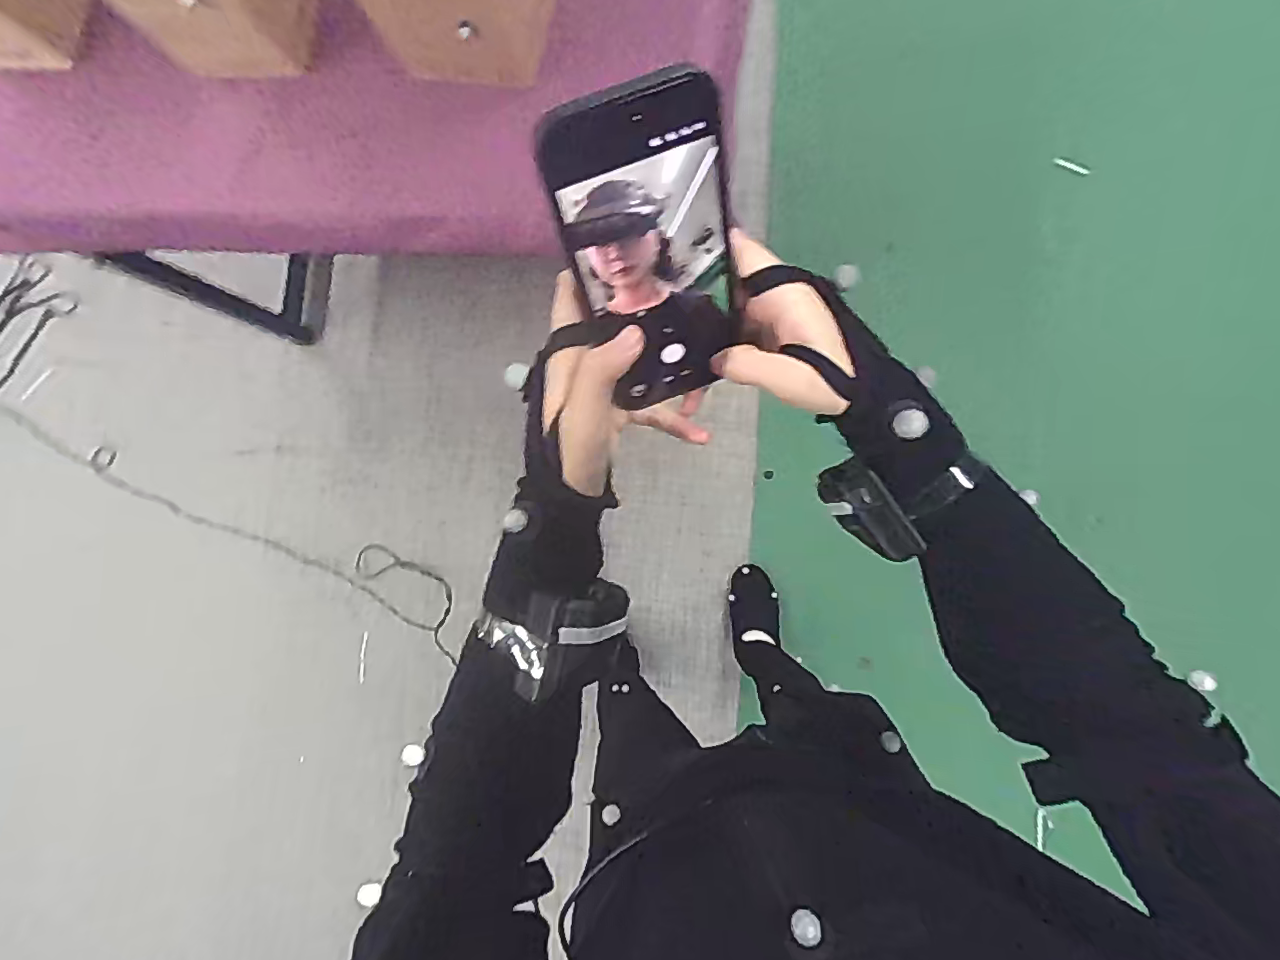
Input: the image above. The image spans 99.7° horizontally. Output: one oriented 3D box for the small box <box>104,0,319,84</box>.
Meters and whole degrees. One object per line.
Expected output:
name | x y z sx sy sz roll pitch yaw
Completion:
small box | -0.550 -0.649 0.695 0.179 0.176 0.168 6 86 10
